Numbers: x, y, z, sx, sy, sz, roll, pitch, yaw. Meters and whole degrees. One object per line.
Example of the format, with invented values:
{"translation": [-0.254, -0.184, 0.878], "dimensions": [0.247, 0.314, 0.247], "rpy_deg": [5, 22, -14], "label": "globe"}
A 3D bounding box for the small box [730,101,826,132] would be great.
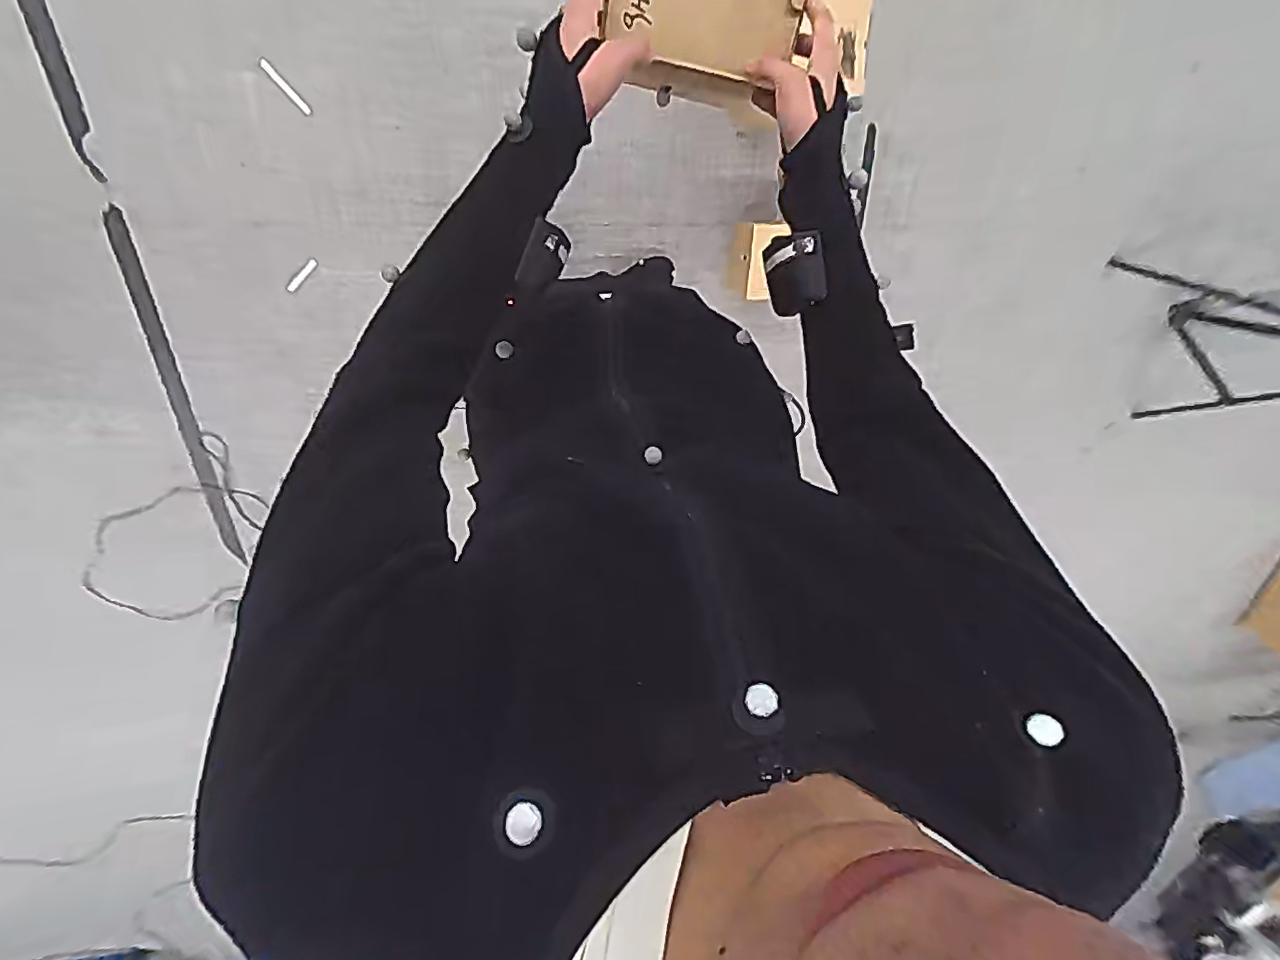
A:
{"translation": [0.314, -0.907, 1.238], "dimensions": [0.179, 0.176, 0.168], "rpy_deg": [-8, 117, -4], "label": "small box"}

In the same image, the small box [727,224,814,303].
{"translation": [0.332, -0.568, 1.413], "dimensions": [0.168, 0.176, 0.179], "rpy_deg": [-1, 118, -7], "label": "small box"}

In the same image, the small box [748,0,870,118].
{"translation": [0.330, -0.840, 1.089], "dimensions": [0.179, 0.176, 0.168], "rpy_deg": [-6, 117, -5], "label": "small box"}

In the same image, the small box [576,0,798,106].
{"translation": [0.042, -0.476, 0.517], "dimensions": [0.179, 0.176, 0.168], "rpy_deg": [3, 118, -15], "label": "small box"}
